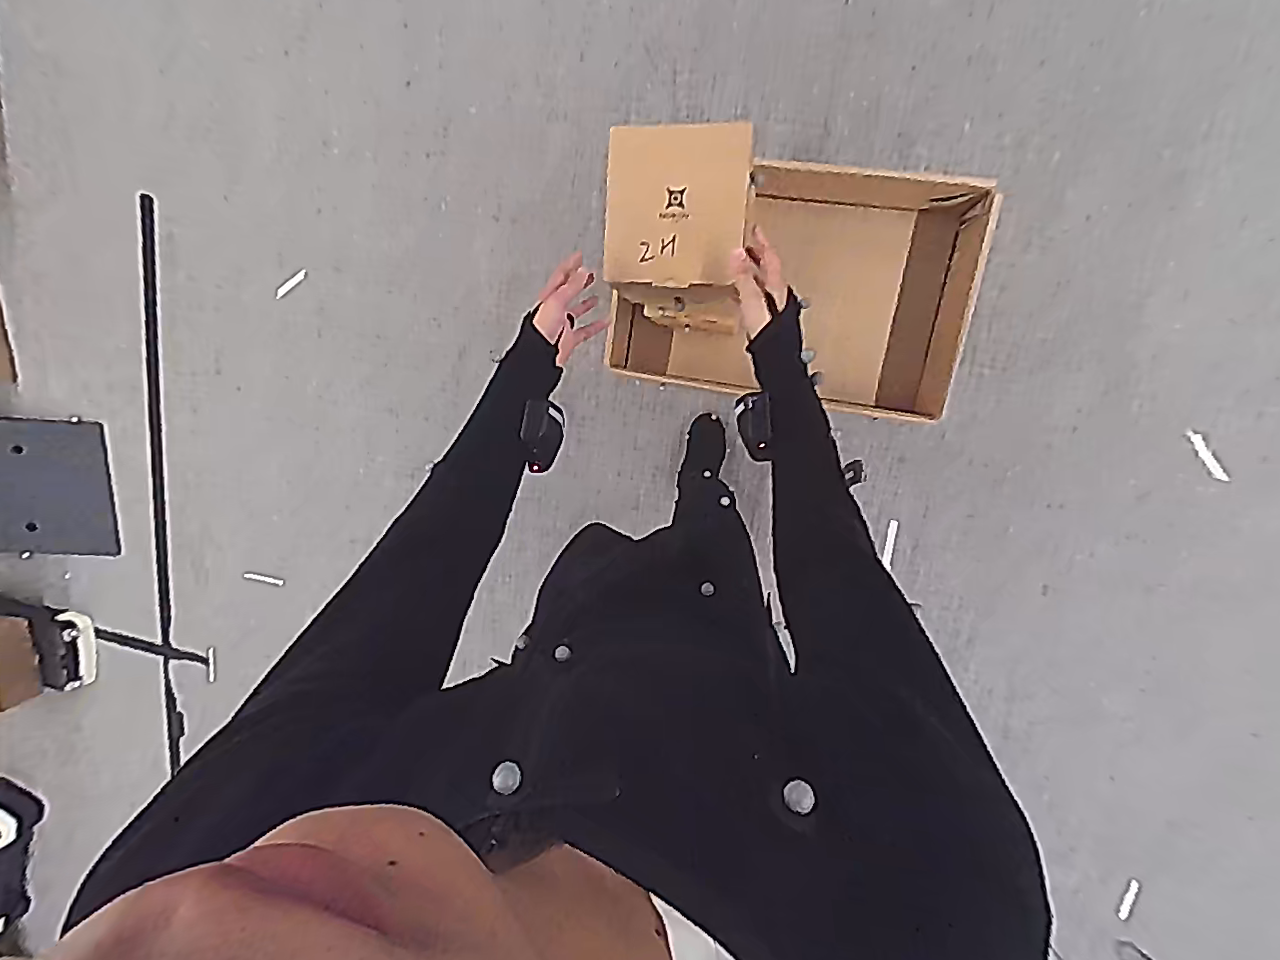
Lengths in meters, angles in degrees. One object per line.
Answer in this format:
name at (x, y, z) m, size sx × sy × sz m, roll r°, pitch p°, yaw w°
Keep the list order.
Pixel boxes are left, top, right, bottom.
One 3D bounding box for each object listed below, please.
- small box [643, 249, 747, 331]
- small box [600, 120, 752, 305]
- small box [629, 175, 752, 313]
small box at (0.109, -0.385, 1.020) m, size 0.168 × 0.176 × 0.179 m, roll 9°, pitch 102°, yaw 9°
small box at (0.052, -0.333, 0.701) m, size 0.168 × 0.176 × 0.179 m, roll 6°, pitch 102°, yaw 10°
small box at (0.083, -0.368, 0.858) m, size 0.168 × 0.176 × 0.179 m, roll 10°, pitch 101°, yaw 9°
